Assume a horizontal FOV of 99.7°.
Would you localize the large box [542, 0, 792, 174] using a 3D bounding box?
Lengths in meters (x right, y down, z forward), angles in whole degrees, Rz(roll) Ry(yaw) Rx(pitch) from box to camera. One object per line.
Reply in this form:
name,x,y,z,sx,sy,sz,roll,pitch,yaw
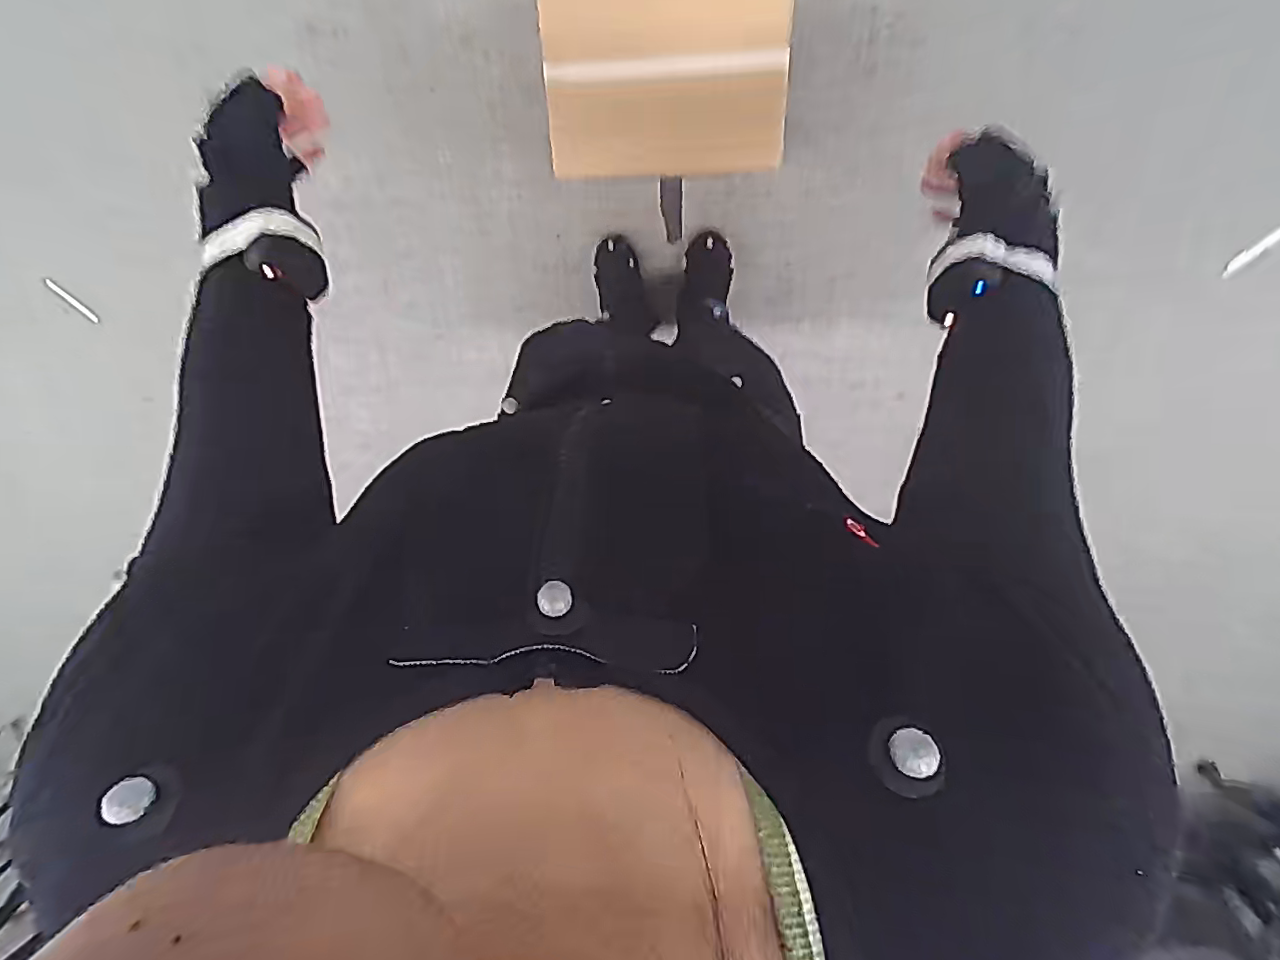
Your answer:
large box,0.056,-0.764,1.019,0.408,0.320,0.320,0,118,5
